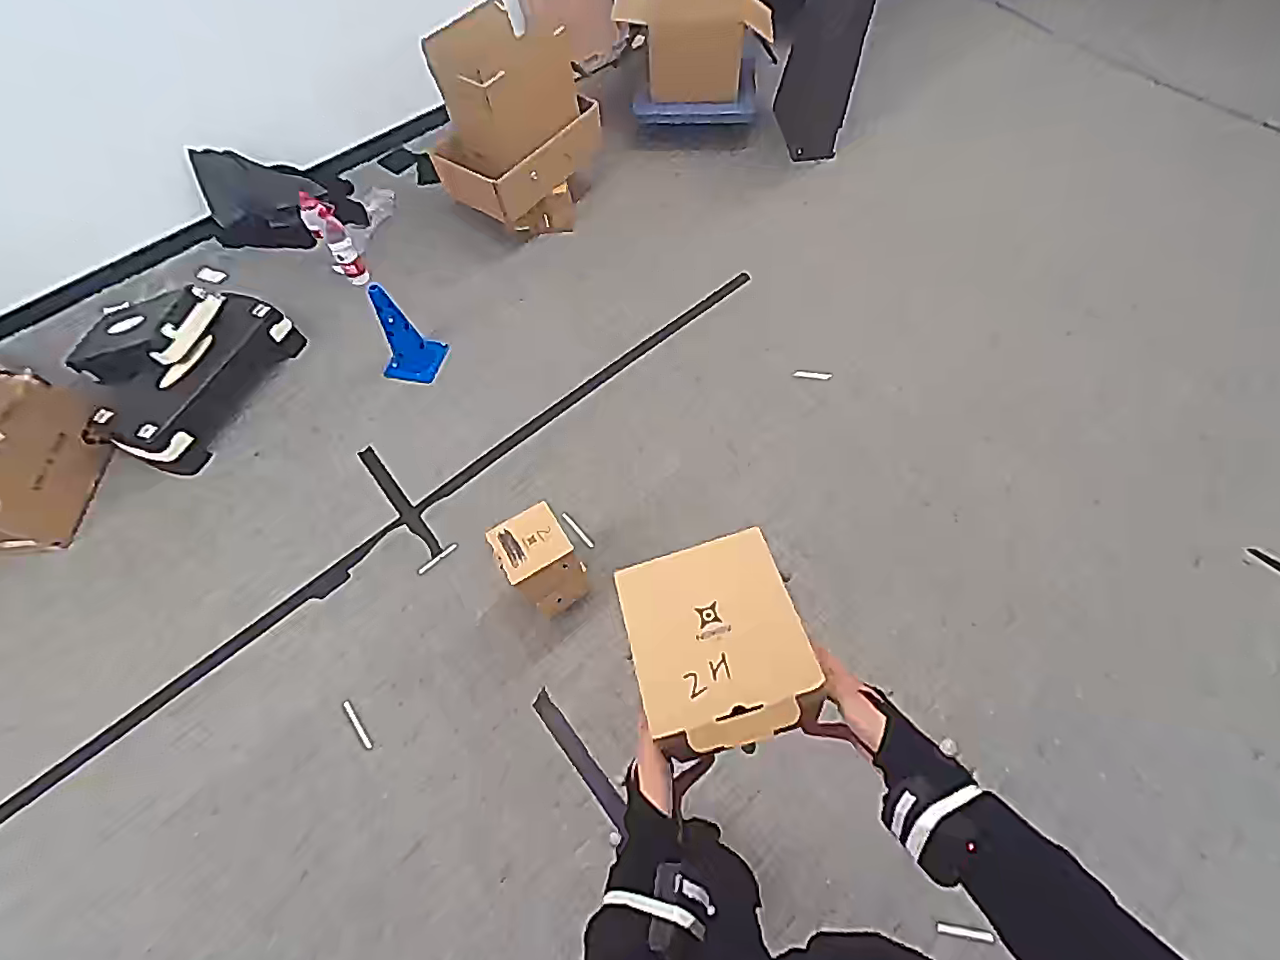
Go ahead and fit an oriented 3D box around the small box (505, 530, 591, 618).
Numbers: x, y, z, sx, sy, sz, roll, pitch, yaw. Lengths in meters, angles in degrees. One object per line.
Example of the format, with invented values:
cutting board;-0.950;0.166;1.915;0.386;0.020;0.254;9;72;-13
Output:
small box;-0.258;0.281;1.564;0.168;0.176;0.179;-35;65;-15

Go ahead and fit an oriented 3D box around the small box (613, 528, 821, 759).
small box;0.081;0.185;0.595;0.168;0.176;0.179;-18;55;2
